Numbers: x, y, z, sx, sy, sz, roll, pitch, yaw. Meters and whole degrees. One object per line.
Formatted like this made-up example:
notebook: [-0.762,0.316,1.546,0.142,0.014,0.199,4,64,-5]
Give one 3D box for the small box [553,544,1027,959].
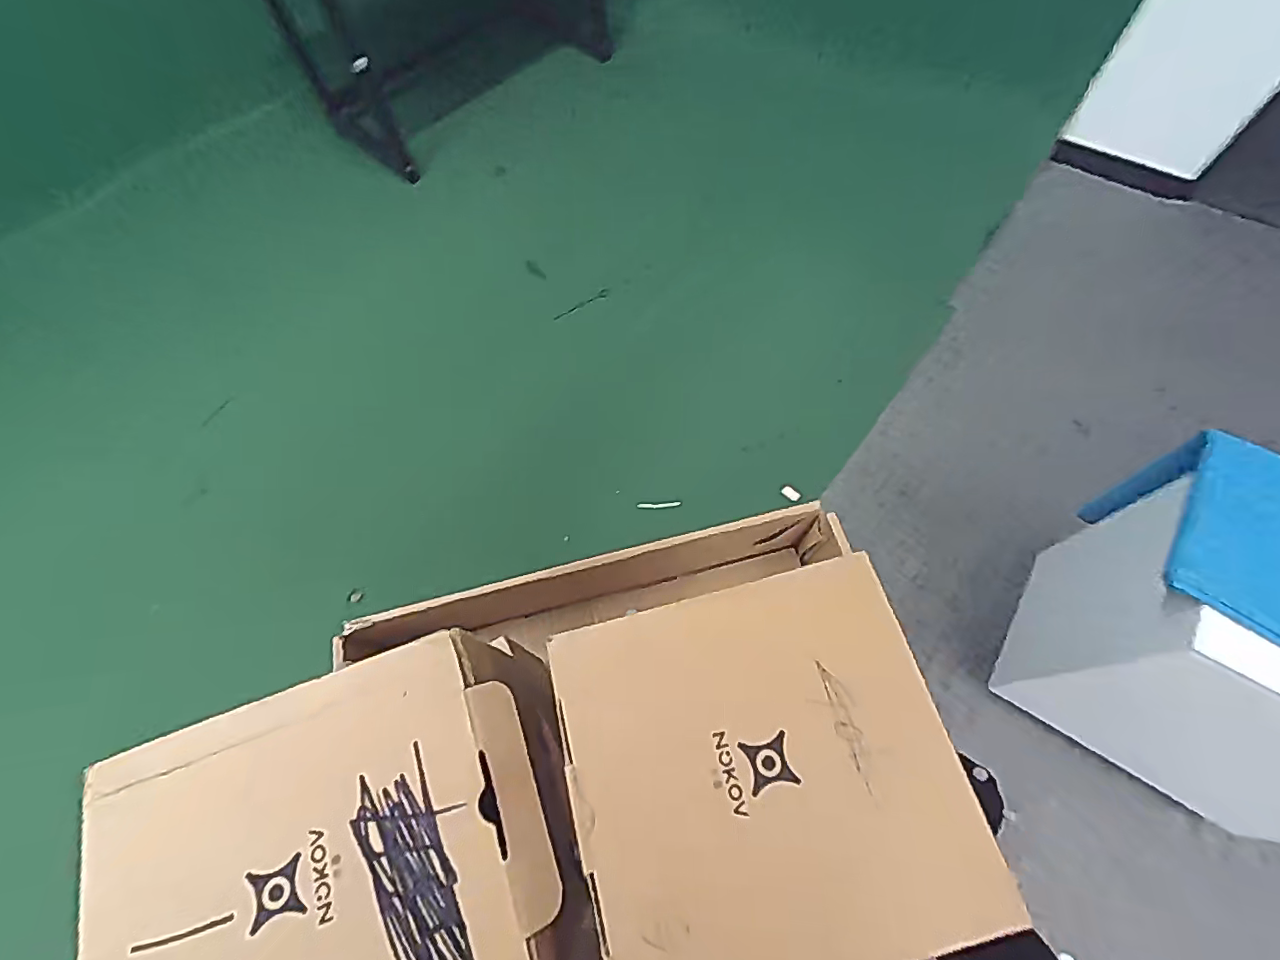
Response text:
small box: [0.062,0.157,0.321,0.179,0.176,0.168,-14,67,-2]
